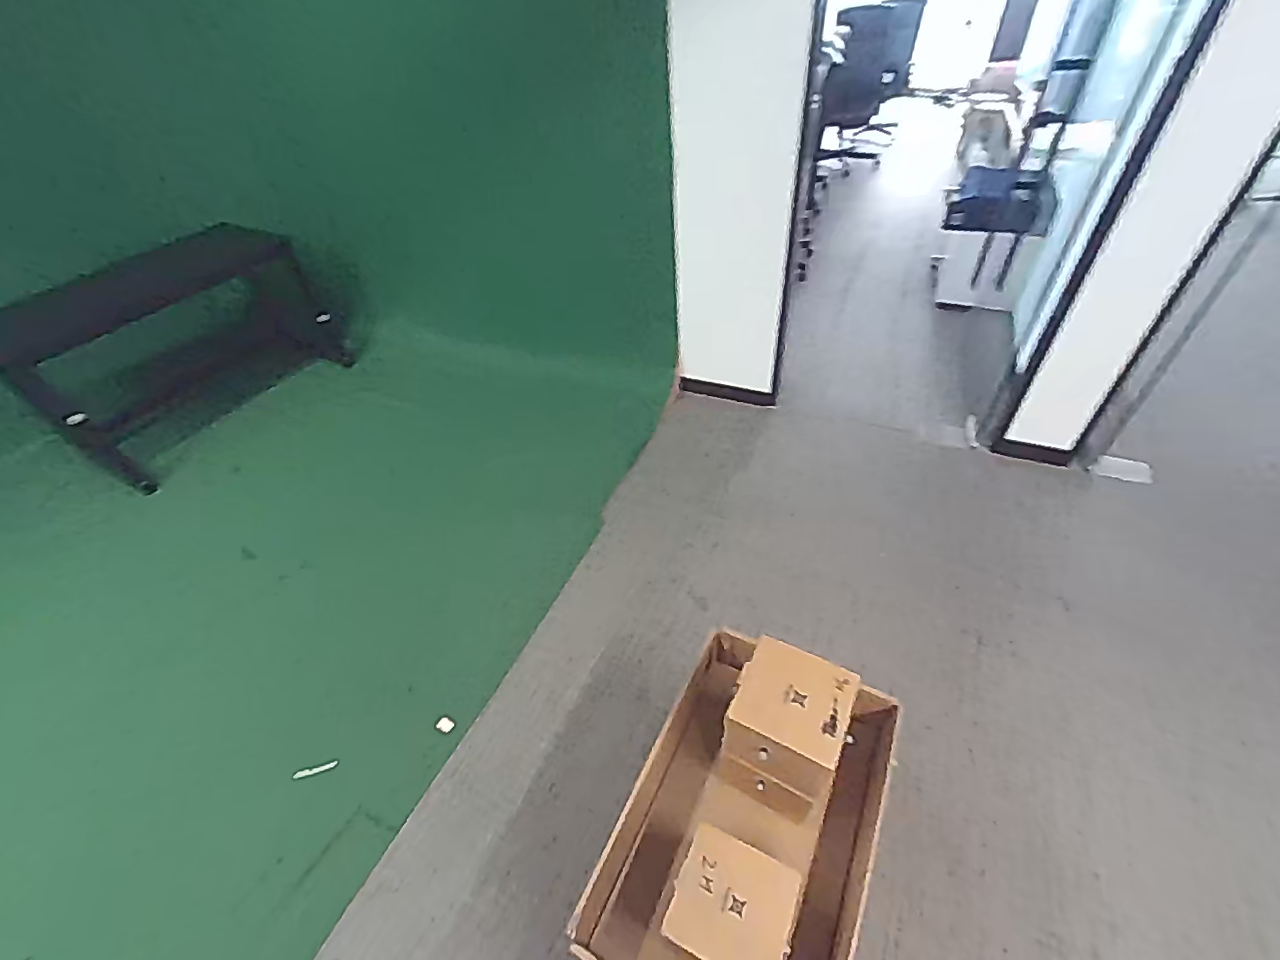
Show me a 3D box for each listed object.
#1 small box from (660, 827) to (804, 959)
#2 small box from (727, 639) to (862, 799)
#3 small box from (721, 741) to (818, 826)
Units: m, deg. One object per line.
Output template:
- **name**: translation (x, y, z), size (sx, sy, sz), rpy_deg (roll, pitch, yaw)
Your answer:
- **small box**: translation (0.146, 0.707, 0.875), size (0.179, 0.176, 0.168), rpy_deg (17, 48, 21)
- **small box**: translation (0.260, 0.416, 0.936), size (0.179, 0.176, 0.168), rpy_deg (19, 51, 24)
- **small box**: translation (0.267, 0.533, 1.050), size (0.179, 0.176, 0.168), rpy_deg (21, 50, 23)
